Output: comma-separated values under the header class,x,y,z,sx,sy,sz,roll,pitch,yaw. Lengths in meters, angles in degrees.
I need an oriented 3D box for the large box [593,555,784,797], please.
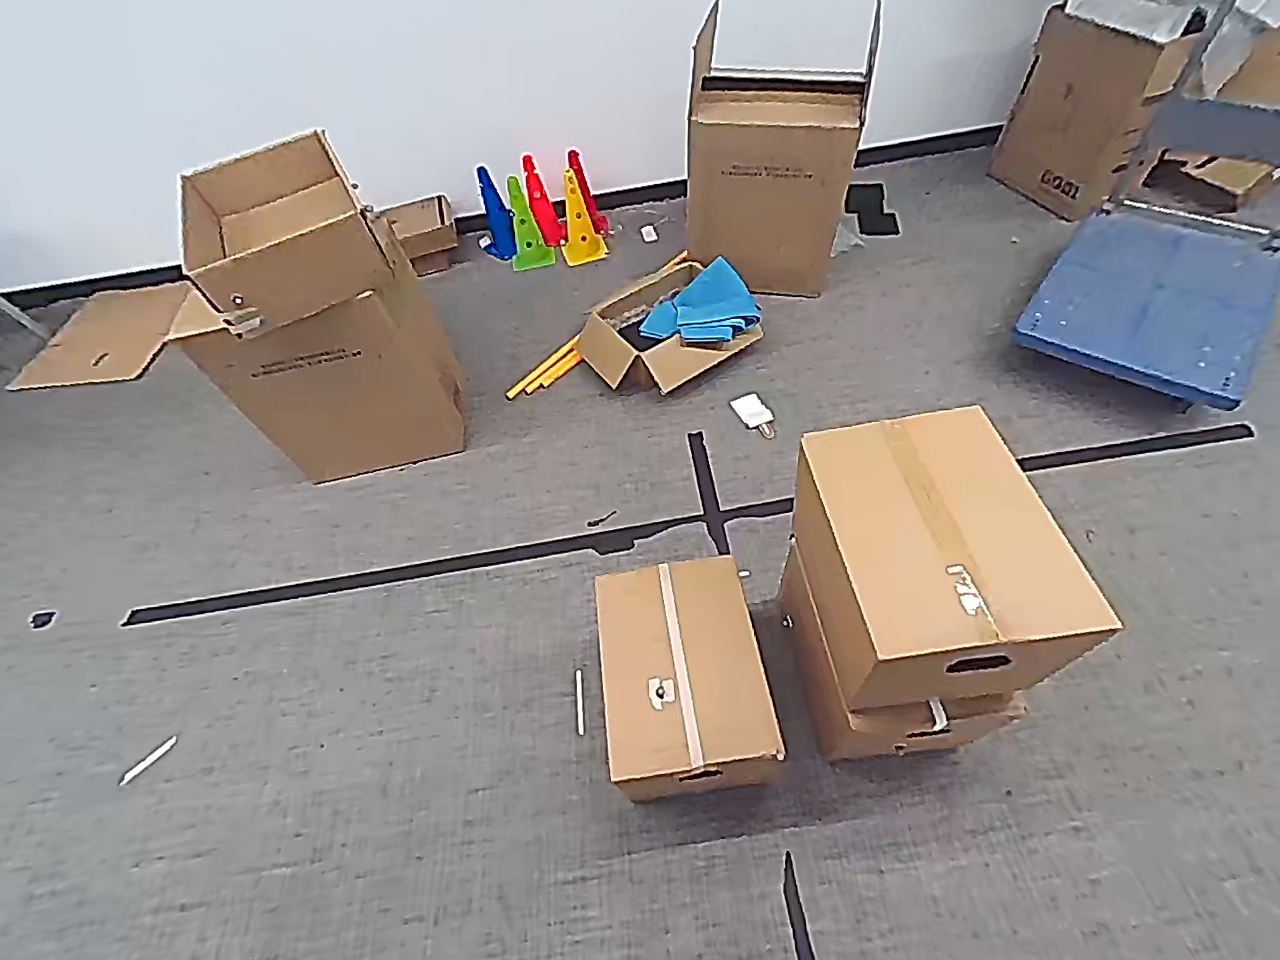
class,x,y,z,sx,sy,sz,roll,pitch,yaw
large box,0.090,0.430,1.187,0.320,0.320,0.408,-10,54,1
